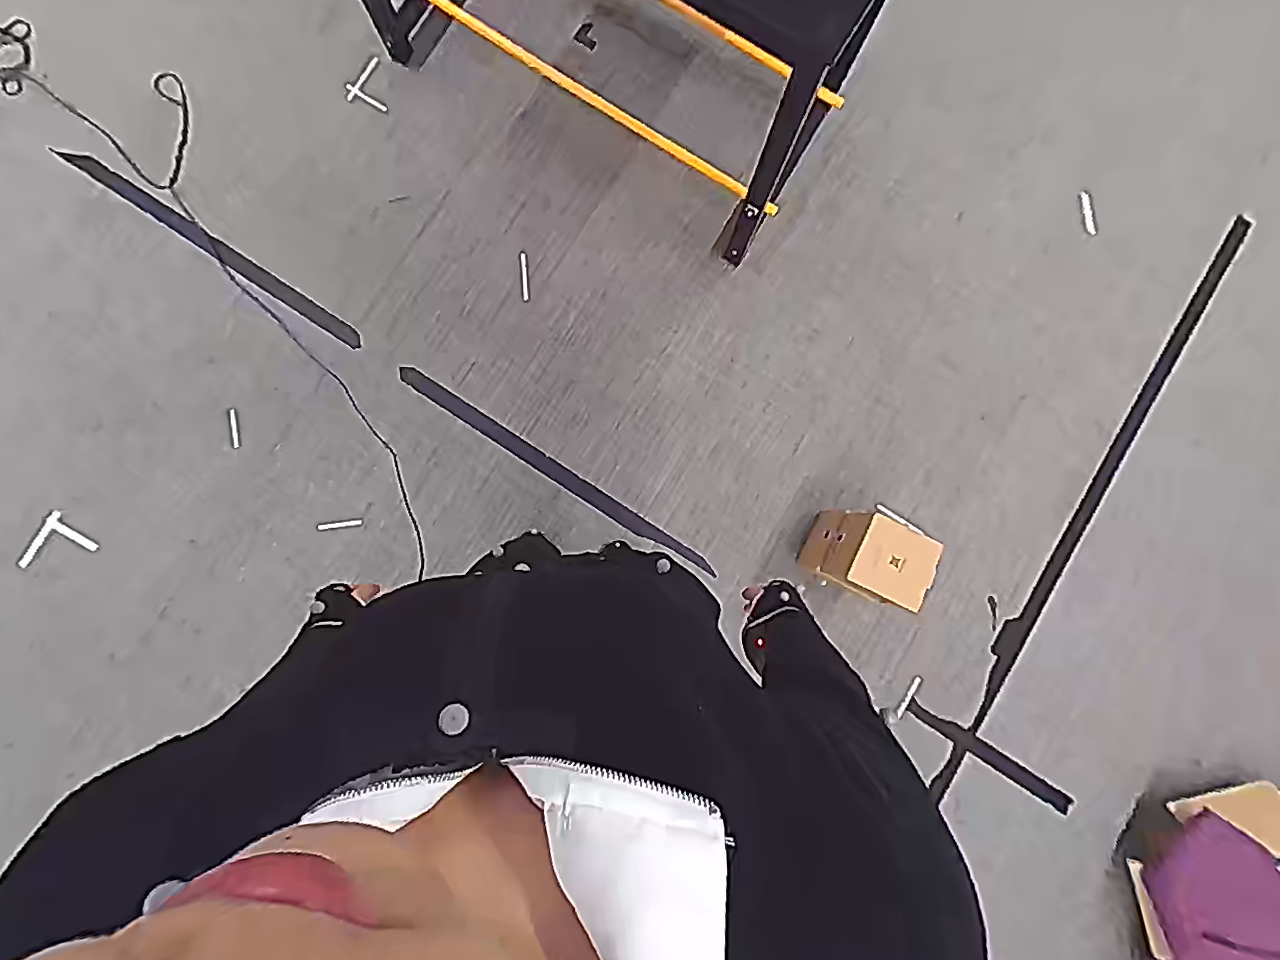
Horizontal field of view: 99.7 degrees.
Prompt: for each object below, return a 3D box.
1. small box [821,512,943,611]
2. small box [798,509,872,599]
[{"bbox_3d":[0.558,0.184,1.270,0.179,0.176,0.168,26,85,1],"label":"small box"},{"bbox_3d":[0.544,0.189,1.432,0.168,0.176,0.179,29,86,1],"label":"small box"}]
